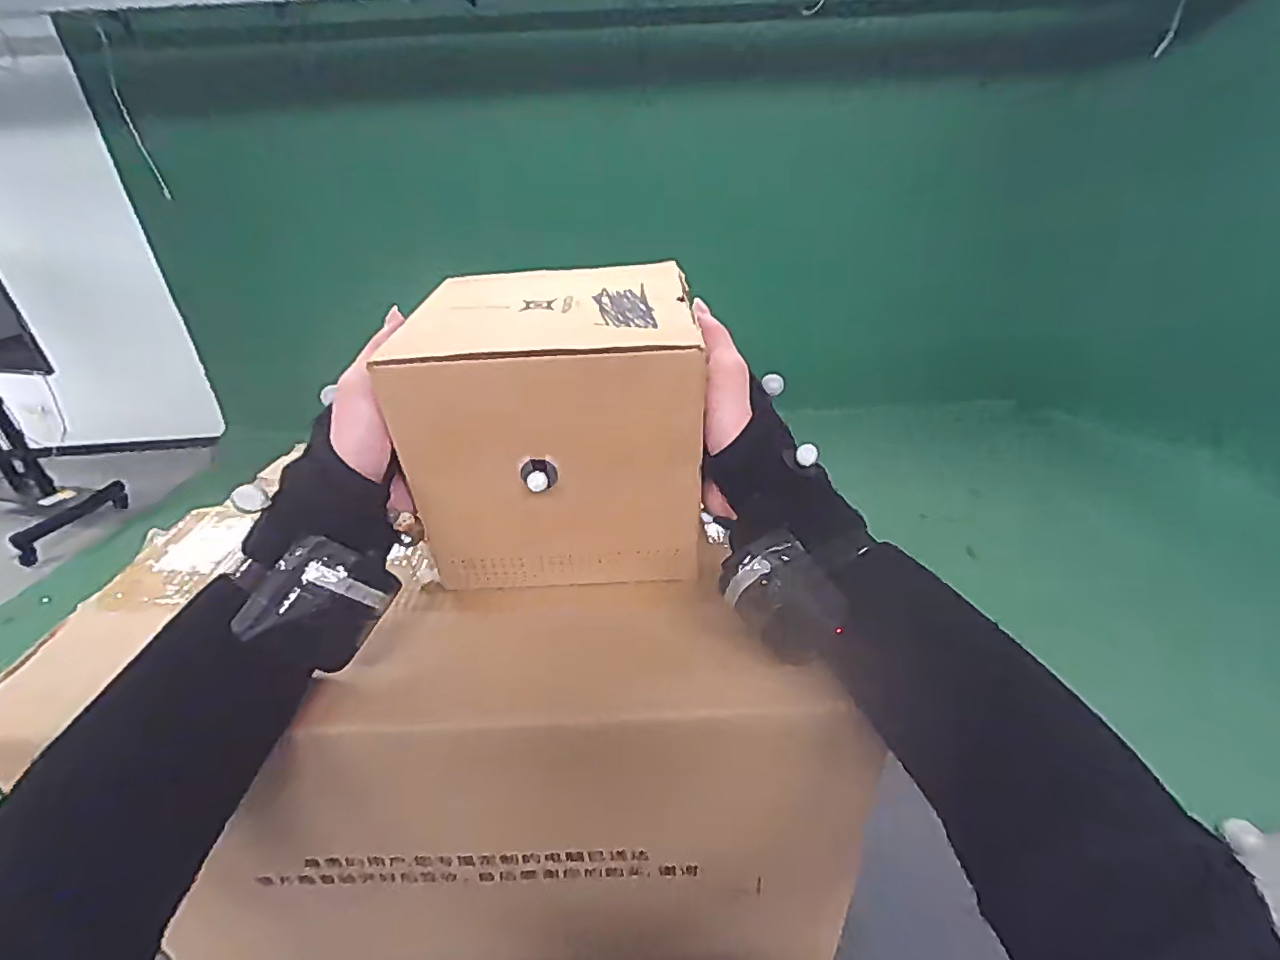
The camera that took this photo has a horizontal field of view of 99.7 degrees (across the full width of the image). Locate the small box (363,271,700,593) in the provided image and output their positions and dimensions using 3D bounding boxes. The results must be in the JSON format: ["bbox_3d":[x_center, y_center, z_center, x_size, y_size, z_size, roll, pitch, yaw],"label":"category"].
[{"bbox_3d":[-0.054,-0.037,0.387,0.179,0.176,0.168,-4,35,1],"label":"small box"}]
